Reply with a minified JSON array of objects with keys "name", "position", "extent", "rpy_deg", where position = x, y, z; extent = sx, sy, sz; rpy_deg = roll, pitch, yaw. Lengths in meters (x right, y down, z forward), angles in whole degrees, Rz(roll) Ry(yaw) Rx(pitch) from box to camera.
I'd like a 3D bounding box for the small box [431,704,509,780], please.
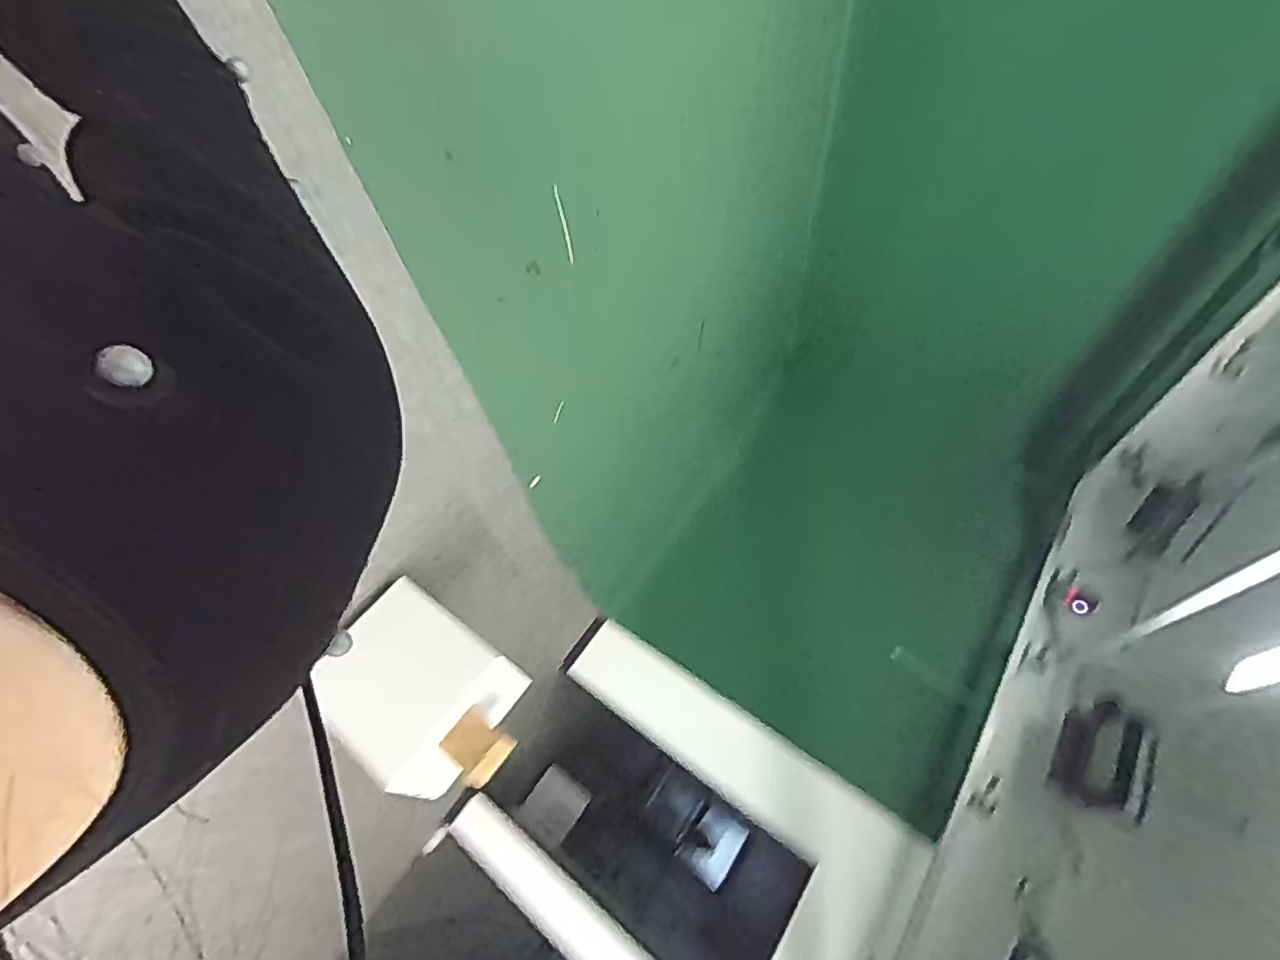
[{"name":"small box","position":[-0.595,0.918,1.899],"extent":[0.168,0.176,0.179],"rpy_deg":[-49,155,-26]}]
